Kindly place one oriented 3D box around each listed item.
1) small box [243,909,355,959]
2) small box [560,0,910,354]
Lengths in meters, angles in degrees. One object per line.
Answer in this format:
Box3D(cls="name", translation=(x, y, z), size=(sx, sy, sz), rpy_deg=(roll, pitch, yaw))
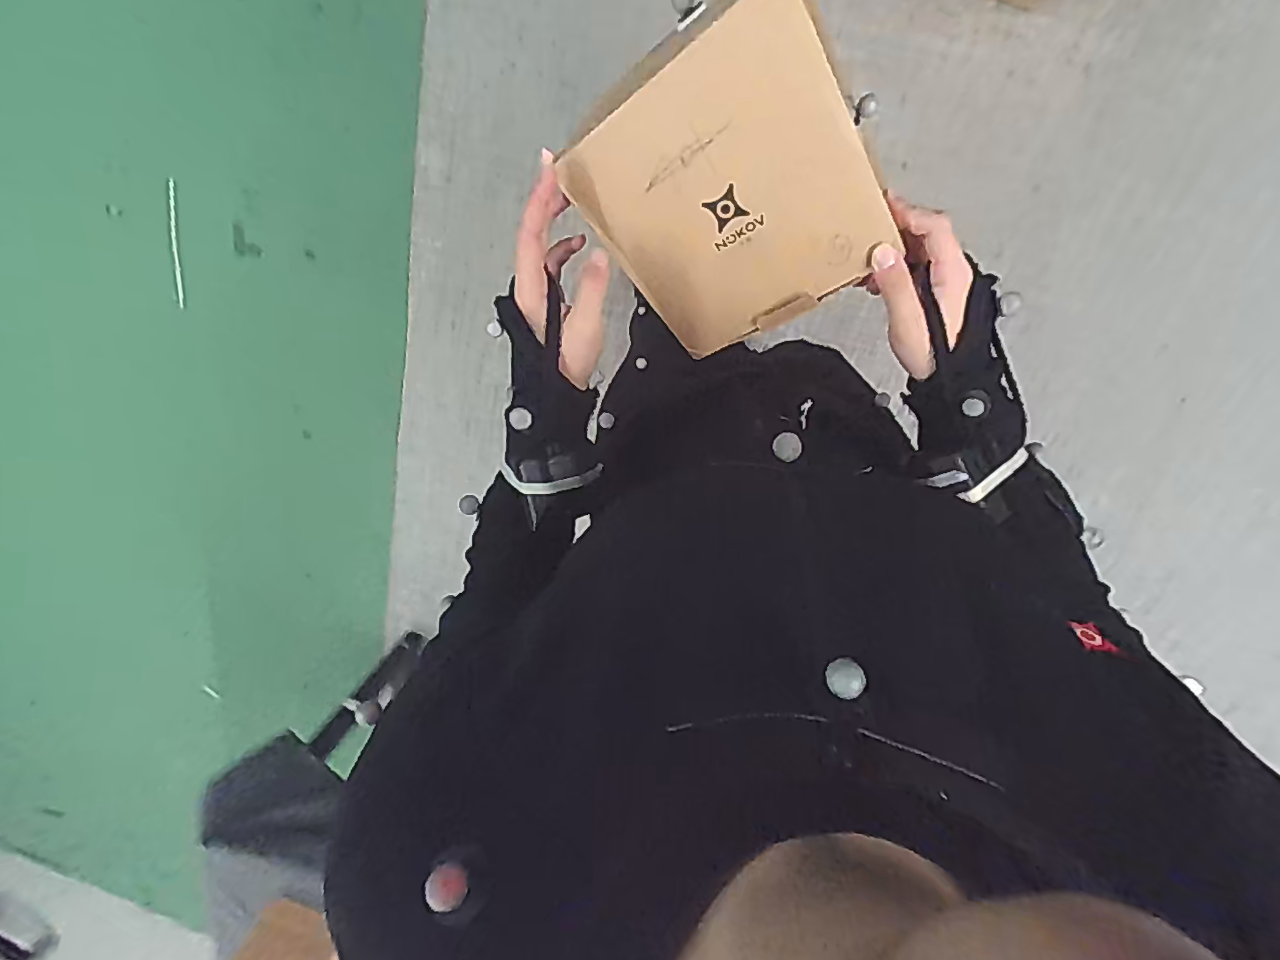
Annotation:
Box3D(cls="small box", translation=(-0.690, 0.987, 1.051), size=(0.179, 0.176, 0.168), rpy_deg=(23, 114, 1))
Box3D(cls="small box", translation=(0.076, -0.234, 0.395), size=(0.168, 0.176, 0.179), rpy_deg=(-21, 130, 34))
